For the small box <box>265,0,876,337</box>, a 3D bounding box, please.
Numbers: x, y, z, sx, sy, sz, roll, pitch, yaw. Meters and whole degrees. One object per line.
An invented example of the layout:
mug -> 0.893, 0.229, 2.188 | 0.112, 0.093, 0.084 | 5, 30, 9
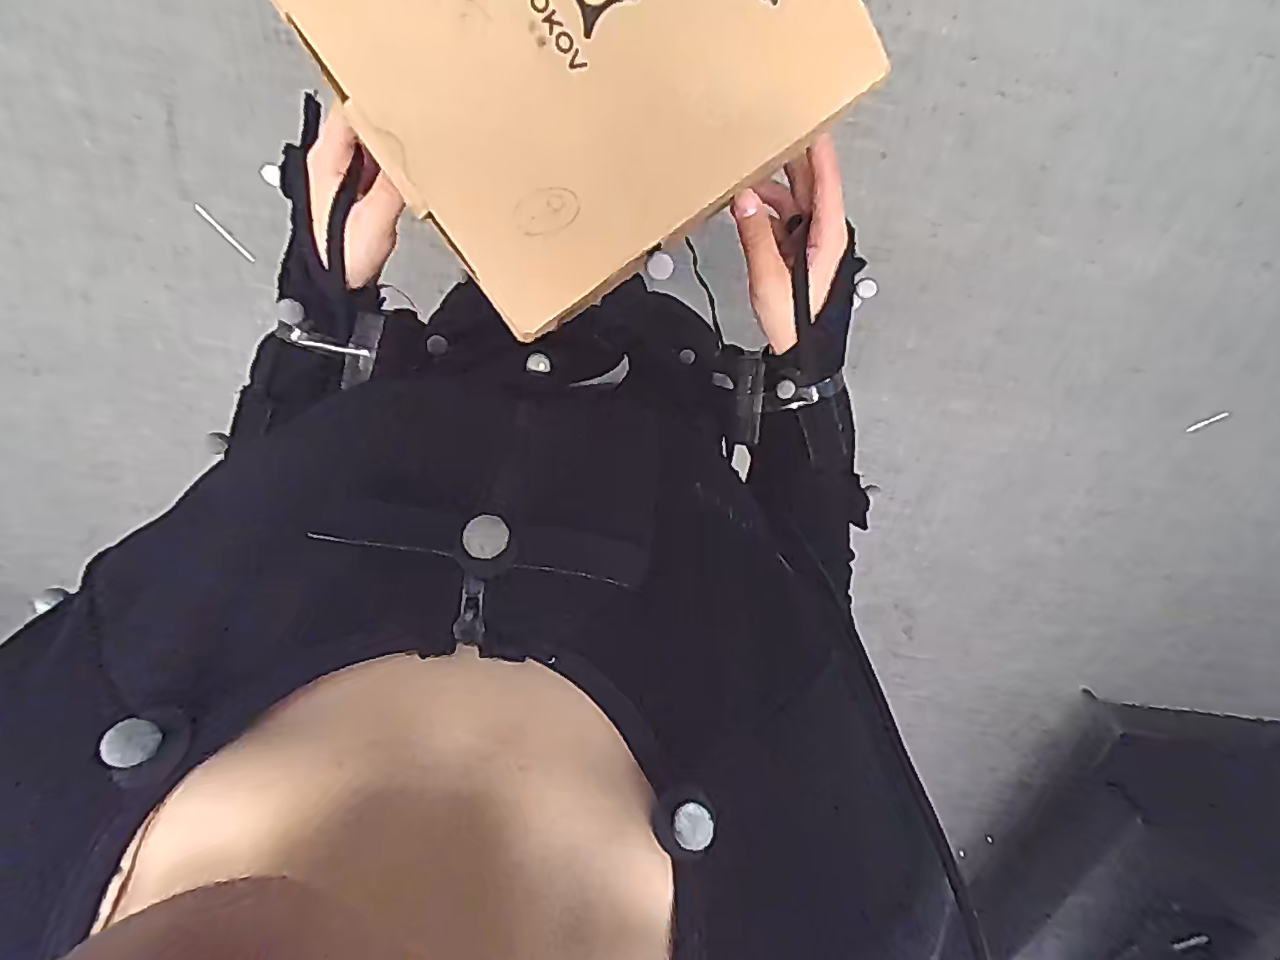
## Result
small box -> -0.027, -0.190, 0.269 | 0.179, 0.176, 0.168 | -33, 106, 9
